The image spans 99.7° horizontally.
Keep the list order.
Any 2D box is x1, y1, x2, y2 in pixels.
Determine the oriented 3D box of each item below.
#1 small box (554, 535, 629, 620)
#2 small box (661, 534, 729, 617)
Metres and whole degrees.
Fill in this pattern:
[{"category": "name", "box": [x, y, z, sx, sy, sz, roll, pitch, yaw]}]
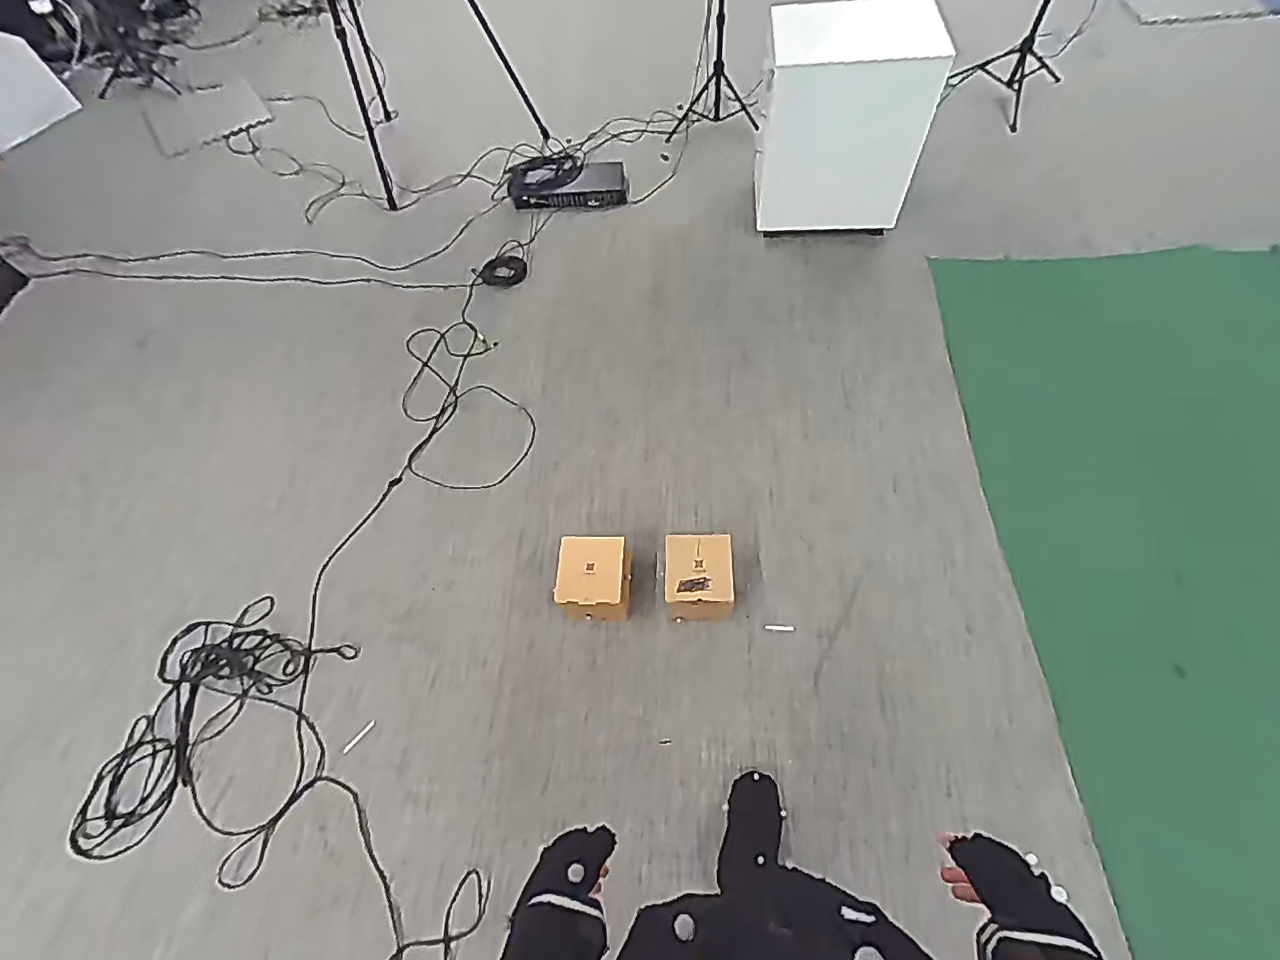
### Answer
[{"category": "small box", "box": [-0.121, 0.258, 1.426, 0.168, 0.176, 0.179, -1, 61, 6]}, {"category": "small box", "box": [0.144, 0.251, 1.401, 0.168, 0.176, 0.179, -1, 60, 5]}]
